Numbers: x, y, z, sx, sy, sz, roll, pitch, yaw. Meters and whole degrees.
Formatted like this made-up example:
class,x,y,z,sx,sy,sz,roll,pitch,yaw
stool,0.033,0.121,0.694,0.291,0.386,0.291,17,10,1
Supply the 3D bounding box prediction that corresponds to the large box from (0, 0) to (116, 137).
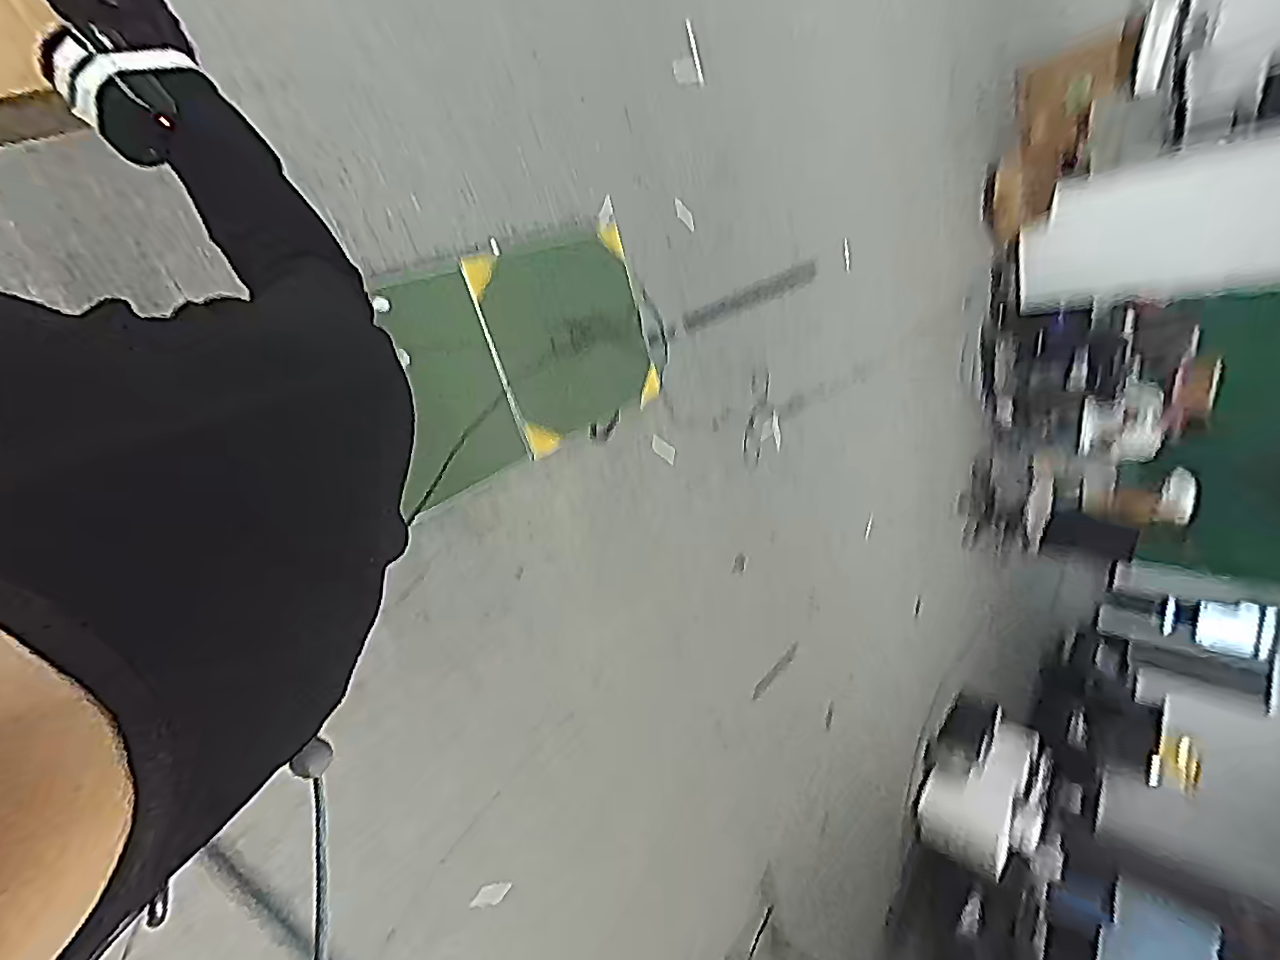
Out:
class,x,y,z,sx,sy,sz,roll,pitch,yaw
large box,-0.663,-0.360,0.315,0.408,0.320,0.320,-41,135,-30
